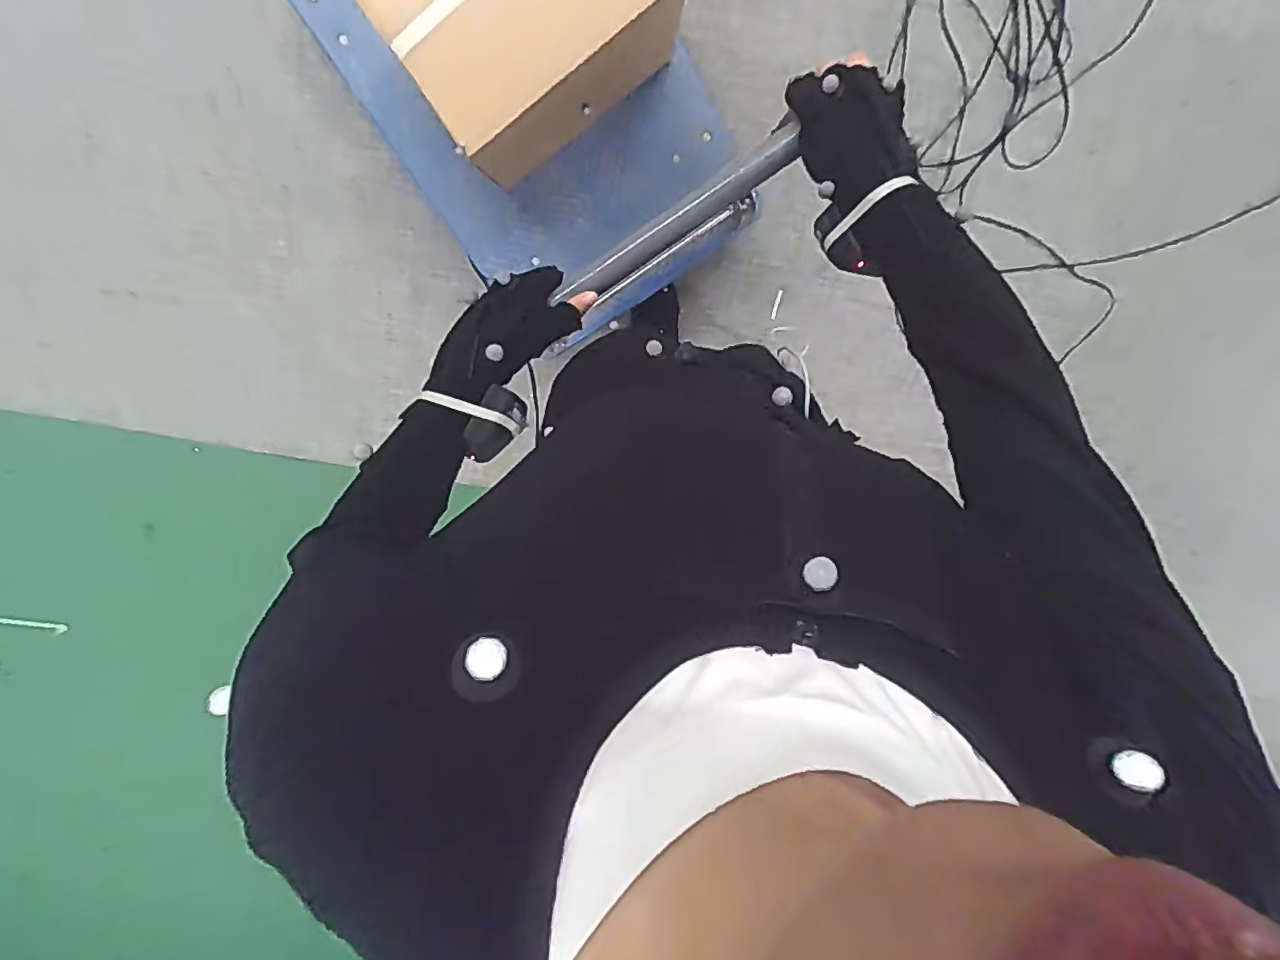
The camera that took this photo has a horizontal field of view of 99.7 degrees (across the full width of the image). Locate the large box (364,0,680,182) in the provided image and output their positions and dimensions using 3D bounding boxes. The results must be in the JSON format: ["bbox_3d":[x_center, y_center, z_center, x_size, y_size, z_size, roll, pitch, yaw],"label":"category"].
[{"bbox_3d":[-0.182,-0.775,0.888,0.408,0.320,0.320,-33,107,11],"label":"large box"}]
